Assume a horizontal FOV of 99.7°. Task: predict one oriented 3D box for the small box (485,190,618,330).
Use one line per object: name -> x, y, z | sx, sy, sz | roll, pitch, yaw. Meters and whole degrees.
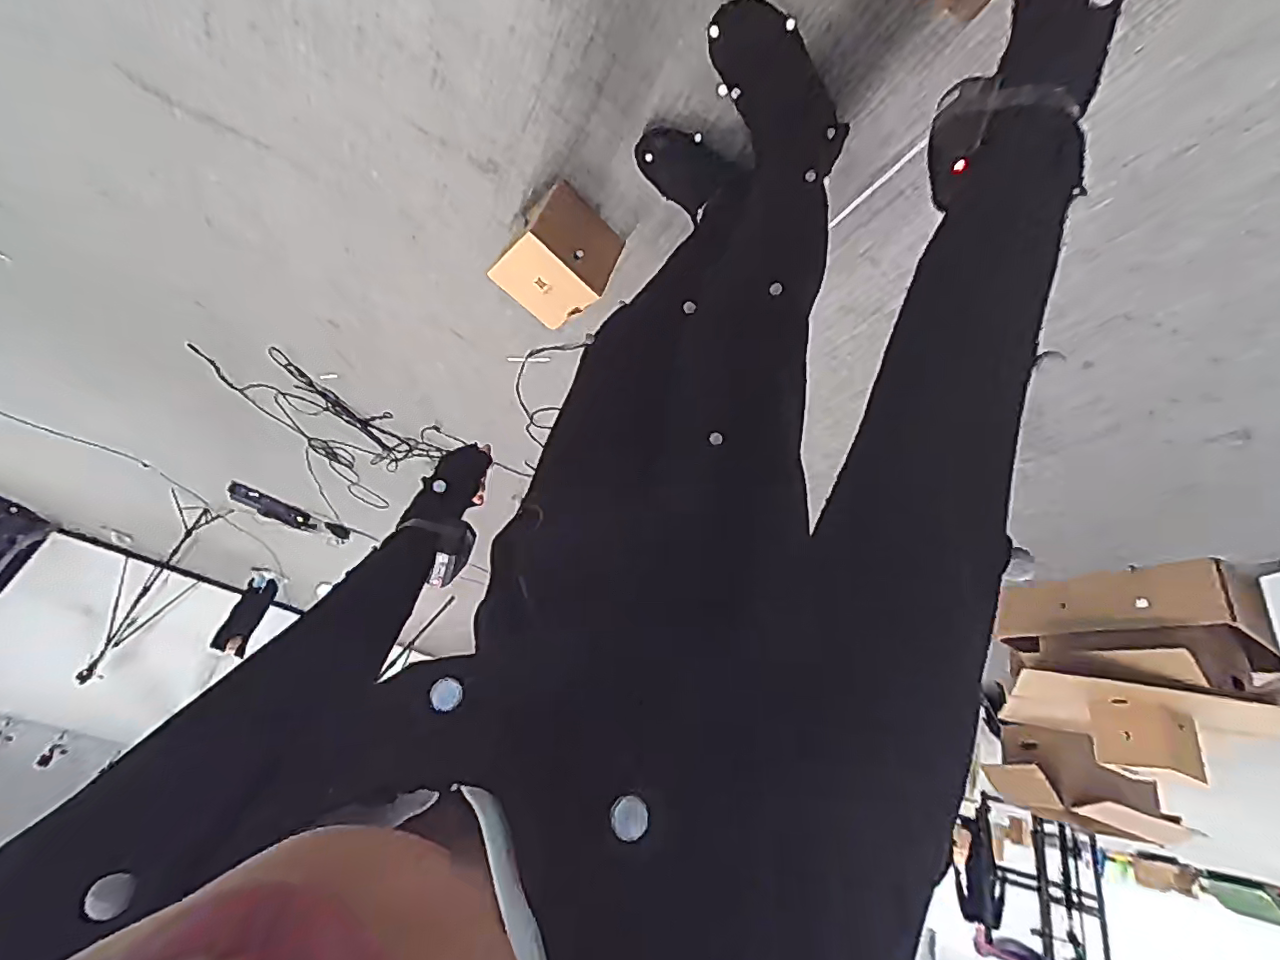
small box -> -0.173, -0.445, 1.089 | 0.179, 0.176, 0.168 | 35, 147, -31
